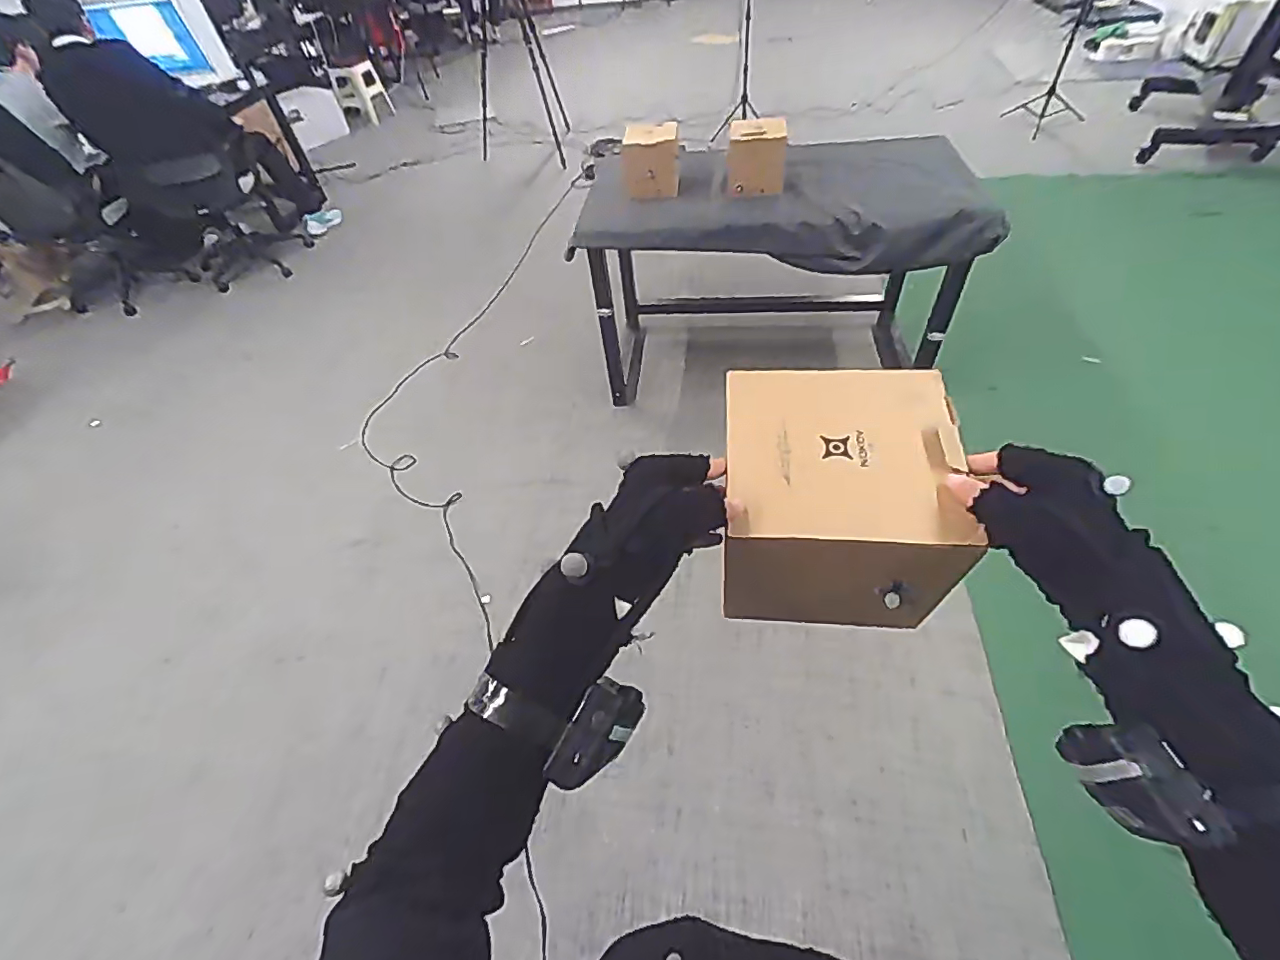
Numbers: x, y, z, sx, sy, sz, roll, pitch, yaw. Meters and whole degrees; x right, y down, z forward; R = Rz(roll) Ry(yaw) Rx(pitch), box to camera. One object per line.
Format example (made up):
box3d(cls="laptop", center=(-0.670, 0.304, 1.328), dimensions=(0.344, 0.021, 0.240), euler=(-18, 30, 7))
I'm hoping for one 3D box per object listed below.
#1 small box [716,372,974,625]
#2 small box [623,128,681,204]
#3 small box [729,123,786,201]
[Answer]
box3d(cls="small box", center=(0.159, 0.023, 0.487), dimensions=(0.179, 0.176, 0.168), euler=(-1, 56, 9))
box3d(cls="small box", center=(0.045, -1.018, 1.765), dimensions=(0.168, 0.176, 0.179), euler=(0, 50, 8))
box3d(cls="small box", center=(0.368, -0.992, 1.698), dimensions=(0.168, 0.176, 0.179), euler=(3, 48, 10))
